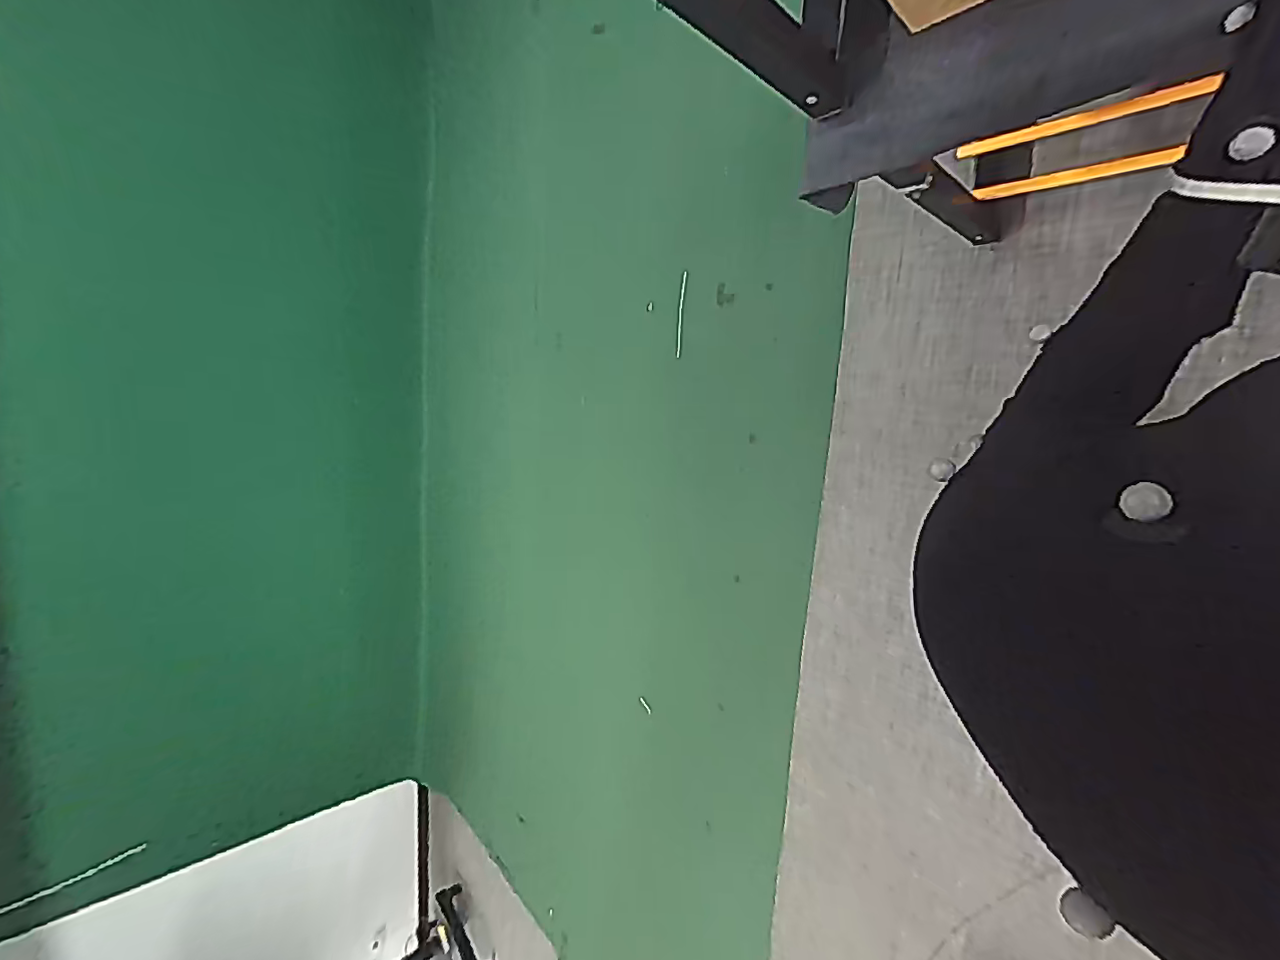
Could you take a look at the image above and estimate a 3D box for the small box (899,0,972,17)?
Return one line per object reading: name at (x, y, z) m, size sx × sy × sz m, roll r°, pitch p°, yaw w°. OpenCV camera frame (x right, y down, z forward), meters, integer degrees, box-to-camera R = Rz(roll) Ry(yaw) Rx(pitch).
small box at (0.369, -0.666, 0.596) m, size 0.168 × 0.176 × 0.179 m, roll 11°, pitch 100°, yaw 47°
